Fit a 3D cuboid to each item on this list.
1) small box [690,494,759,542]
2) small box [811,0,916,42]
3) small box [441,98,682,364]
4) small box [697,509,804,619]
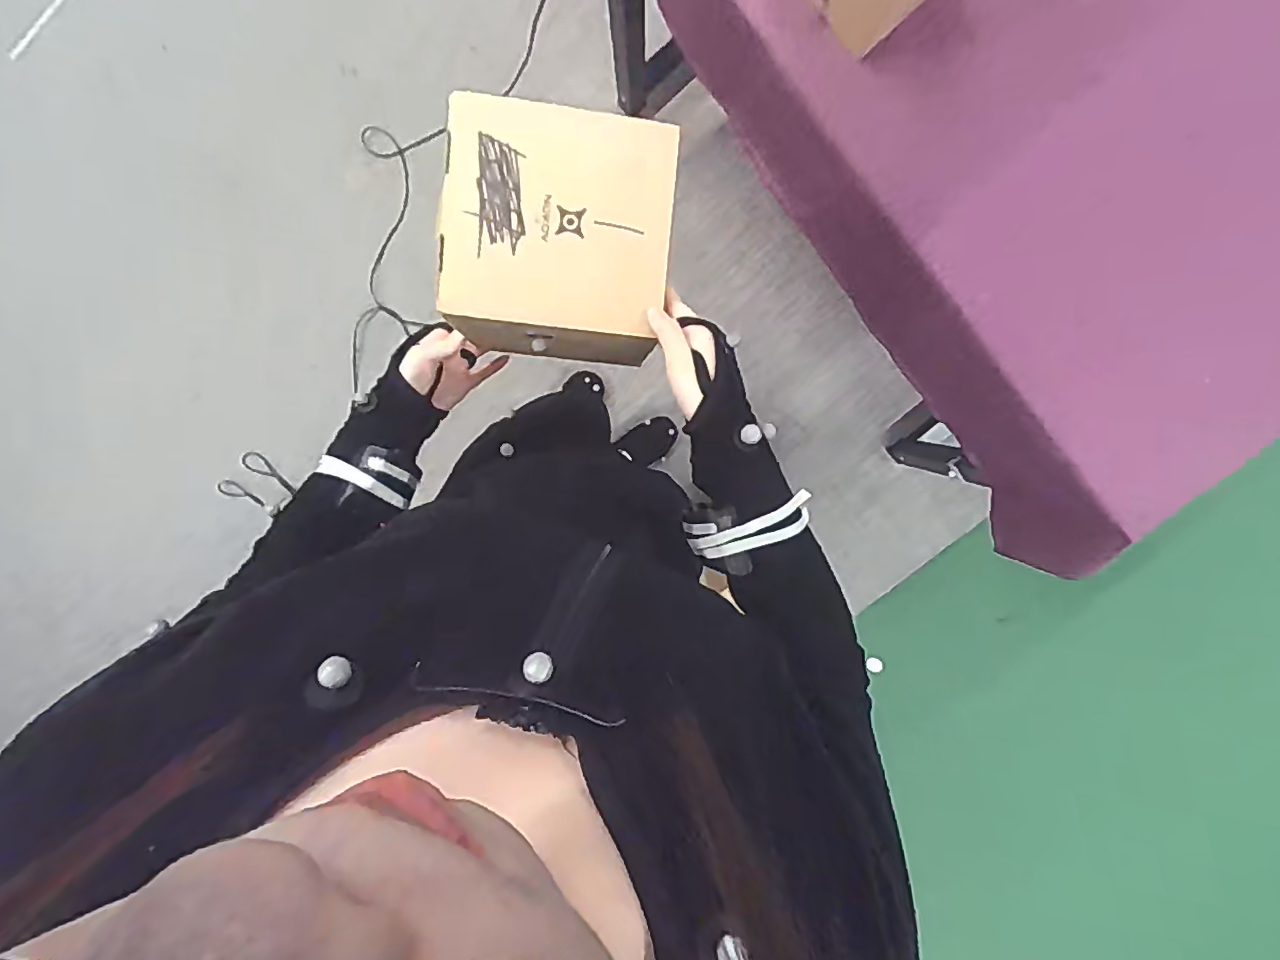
[{"bbox_3d":[0.248,0.151,1.438,0.168,0.176,0.179,-35,99,6],"label":"small box"},{"bbox_3d":[0.270,-0.617,0.568,0.168,0.176,0.179,-41,98,6],"label":"small box"},{"bbox_3d":[-0.069,-0.206,0.500,0.179,0.176,0.168,5,94,-8],"label":"small box"},{"bbox_3d":[0.252,0.187,1.279,0.168,0.176,0.179,-38,99,7],"label":"small box"}]
